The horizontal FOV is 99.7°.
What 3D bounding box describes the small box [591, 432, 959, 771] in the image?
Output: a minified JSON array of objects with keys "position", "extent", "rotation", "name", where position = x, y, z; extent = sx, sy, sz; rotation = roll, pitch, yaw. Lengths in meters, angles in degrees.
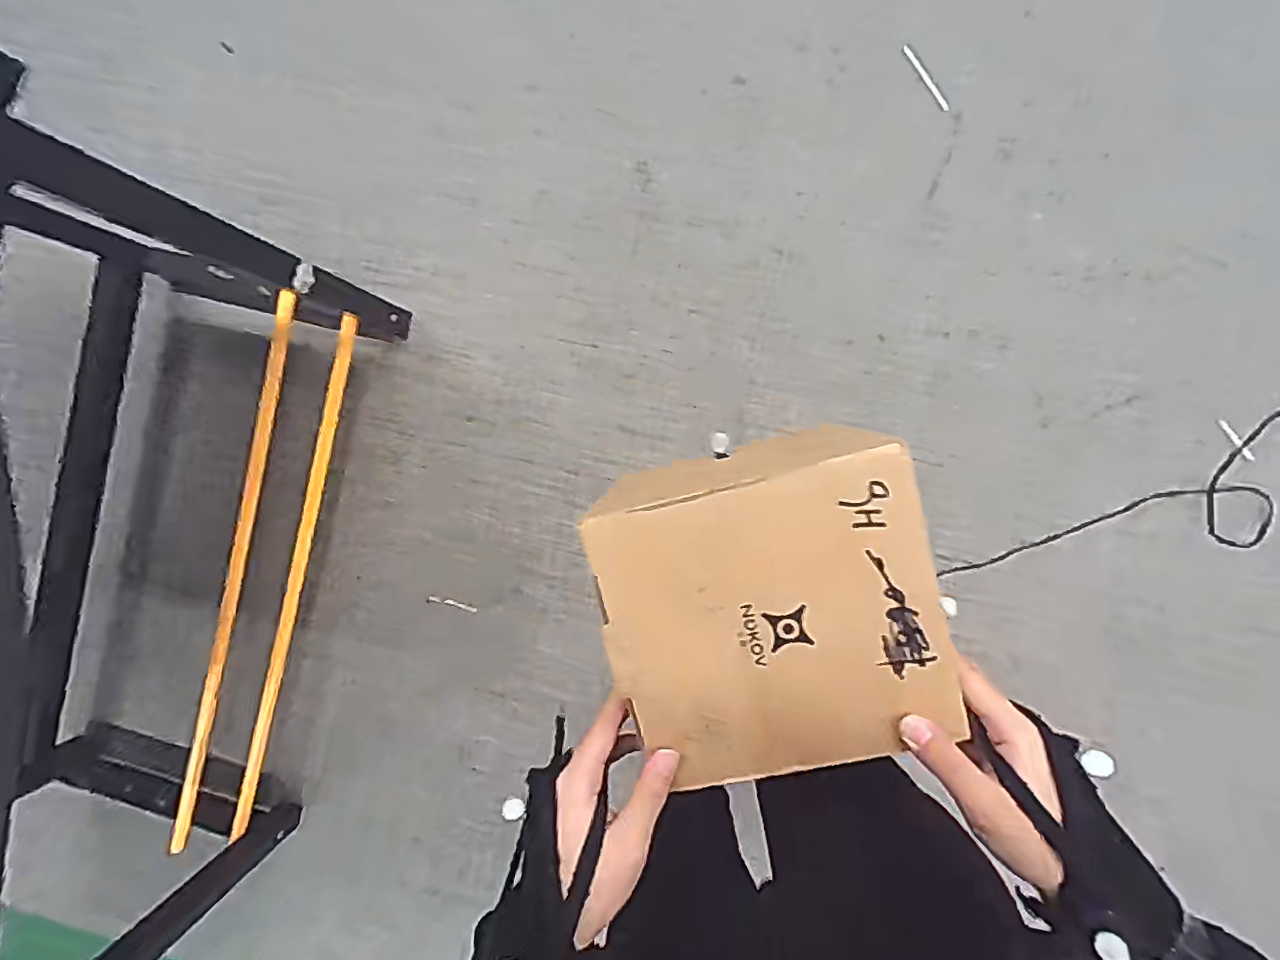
[{"position":[0.084,0.066,0.378],"extent":[0.179,0.176,0.168],"rotation":[-13,96,9],"name":"small box"}]
